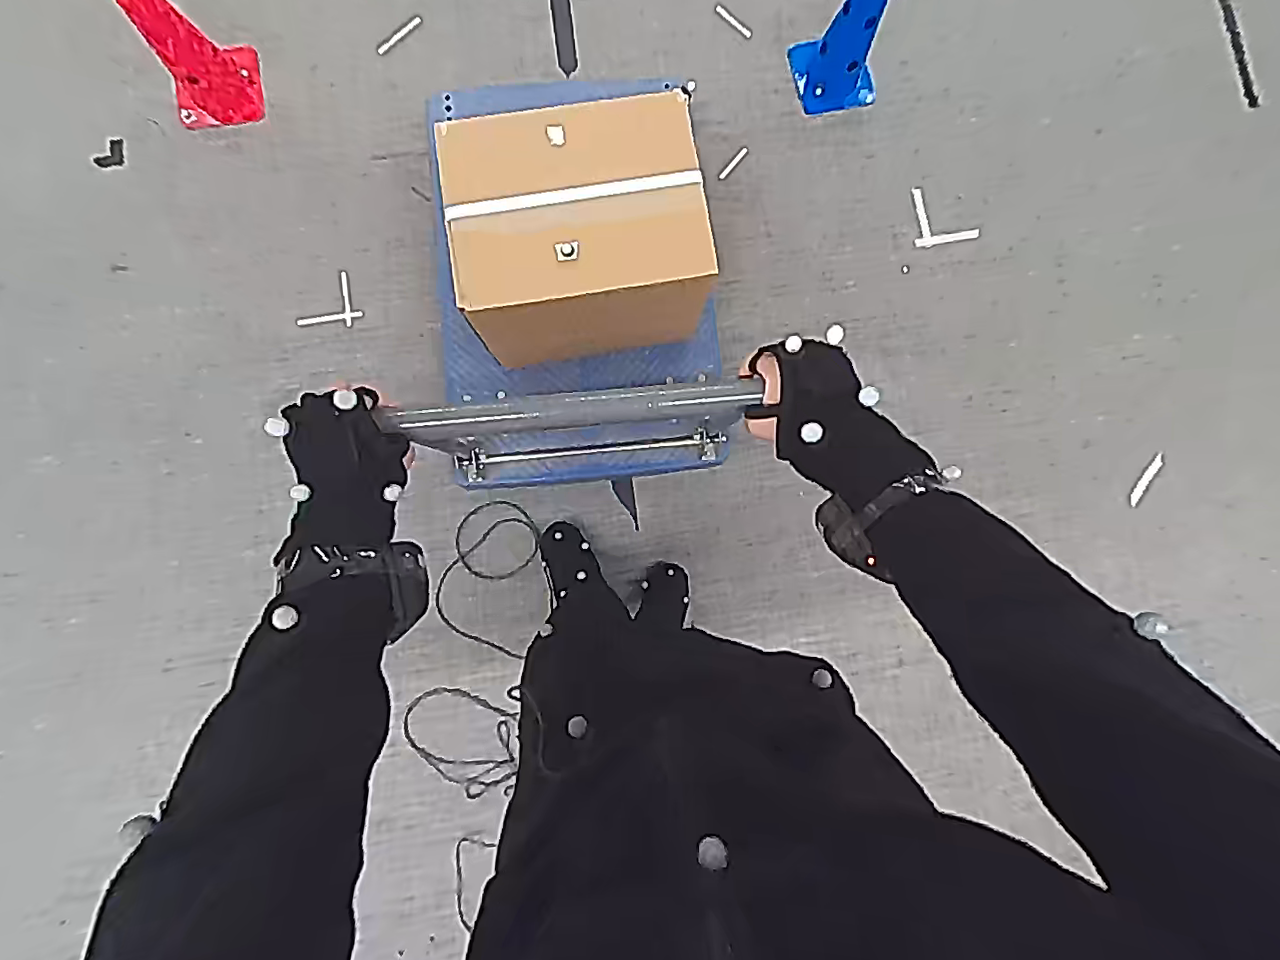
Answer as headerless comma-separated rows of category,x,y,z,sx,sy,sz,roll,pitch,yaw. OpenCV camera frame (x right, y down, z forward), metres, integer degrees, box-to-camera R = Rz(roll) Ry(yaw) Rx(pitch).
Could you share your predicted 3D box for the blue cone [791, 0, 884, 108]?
blue cone,0.512,-1.086,1.253,0.193,0.380,0.192,-12,85,-4
